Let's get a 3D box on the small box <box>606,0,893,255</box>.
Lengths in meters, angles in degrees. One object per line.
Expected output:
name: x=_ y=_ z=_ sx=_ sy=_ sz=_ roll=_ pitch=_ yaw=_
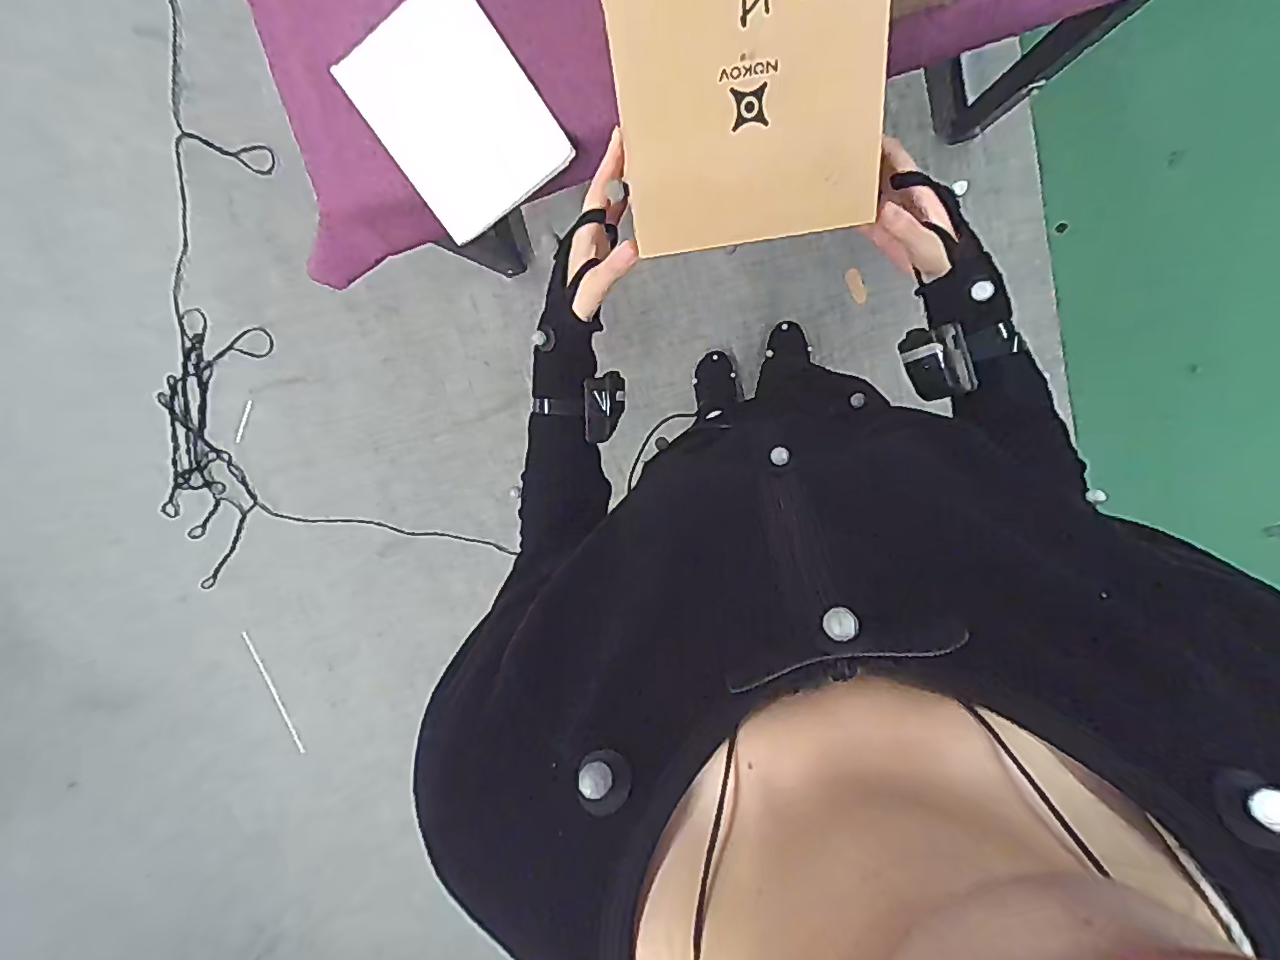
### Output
small box: x=0.068 y=-0.278 z=0.400 sx=0.168 sy=0.176 sz=0.179 roll=-7 pitch=118 yaw=3
